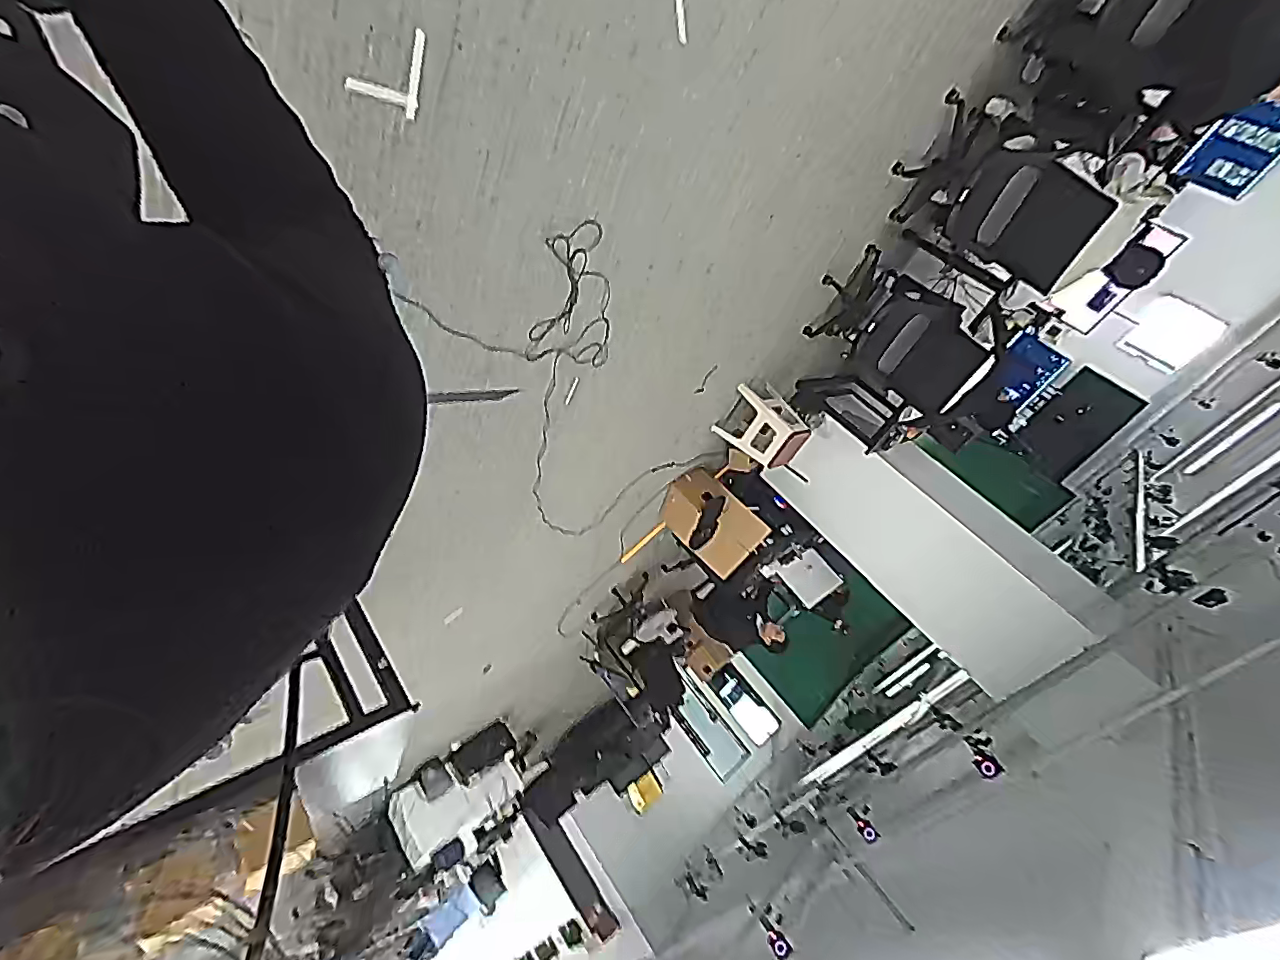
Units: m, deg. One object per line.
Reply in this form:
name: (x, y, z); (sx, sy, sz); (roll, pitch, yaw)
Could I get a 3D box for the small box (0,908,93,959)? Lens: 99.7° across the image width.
small box: (-1.435, 1.176, 1.287); (0.179, 0.176, 0.168); (-13, 142, -47)

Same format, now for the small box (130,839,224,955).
small box: (-1.257, 1.124, 1.470); (0.168, 0.176, 0.179); (-13, 143, -47)
